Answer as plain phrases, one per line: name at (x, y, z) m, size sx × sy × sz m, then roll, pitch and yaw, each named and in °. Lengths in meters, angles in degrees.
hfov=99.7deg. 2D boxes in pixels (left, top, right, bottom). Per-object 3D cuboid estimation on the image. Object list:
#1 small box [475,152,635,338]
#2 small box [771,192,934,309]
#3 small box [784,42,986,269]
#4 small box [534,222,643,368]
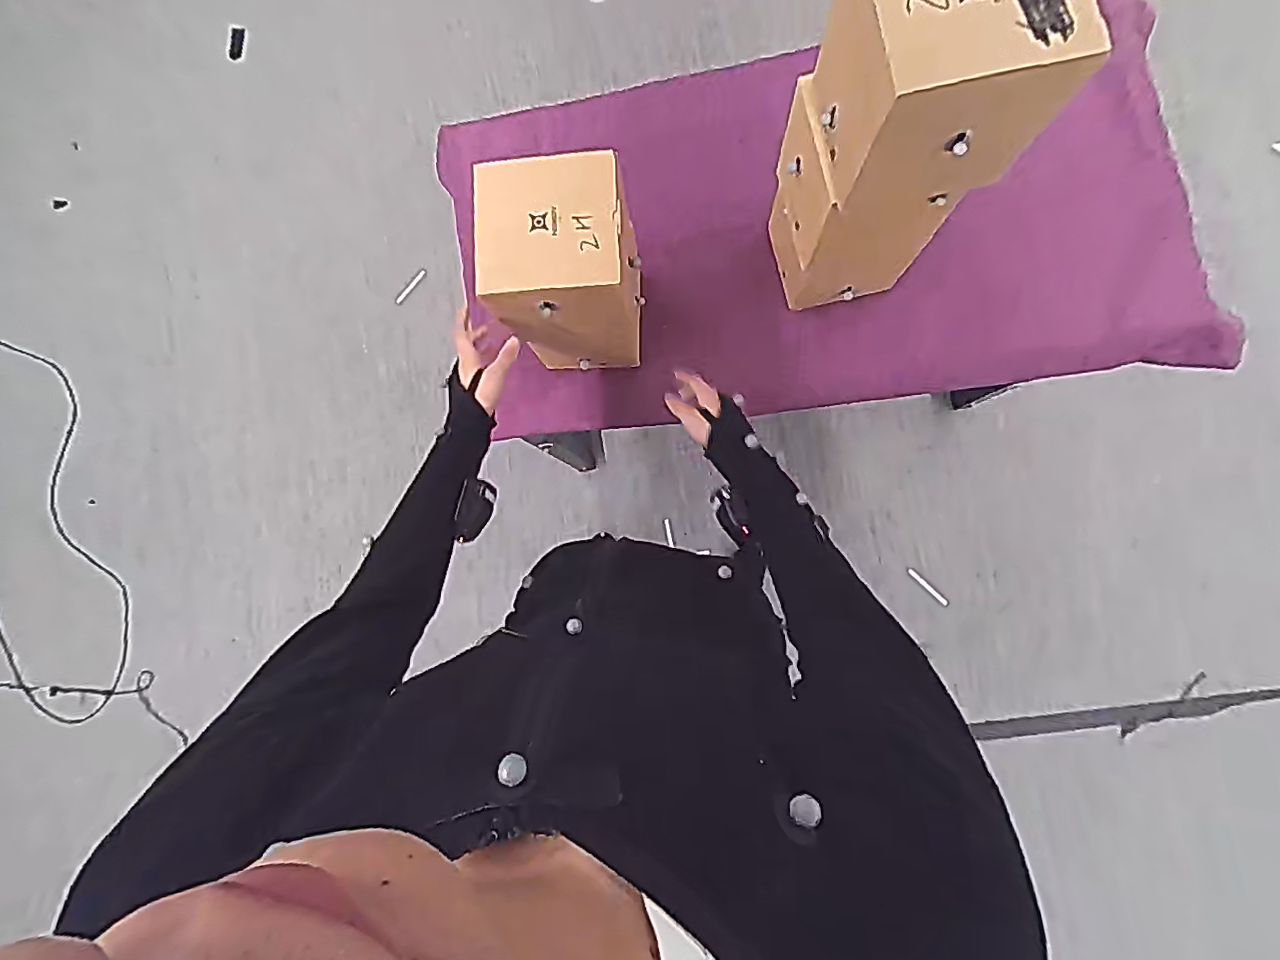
small box at (-0.102, -0.294, 0.712) m, size 0.179 × 0.176 × 0.168 m, roll -2°, pitch 86°, yaw 4°
small box at (0.321, -0.393, 0.854) m, size 0.179 × 0.176 × 0.168 m, roll -12°, pitch 83°, yaw 3°
small box at (0.291, -0.396, 0.692) m, size 0.179 × 0.176 × 0.168 m, roll -12°, pitch 83°, yaw 3°
small box at (-0.084, -0.290, 0.876) m, size 0.168 × 0.176 × 0.179 m, roll 0°, pitch 86°, yaw 5°
